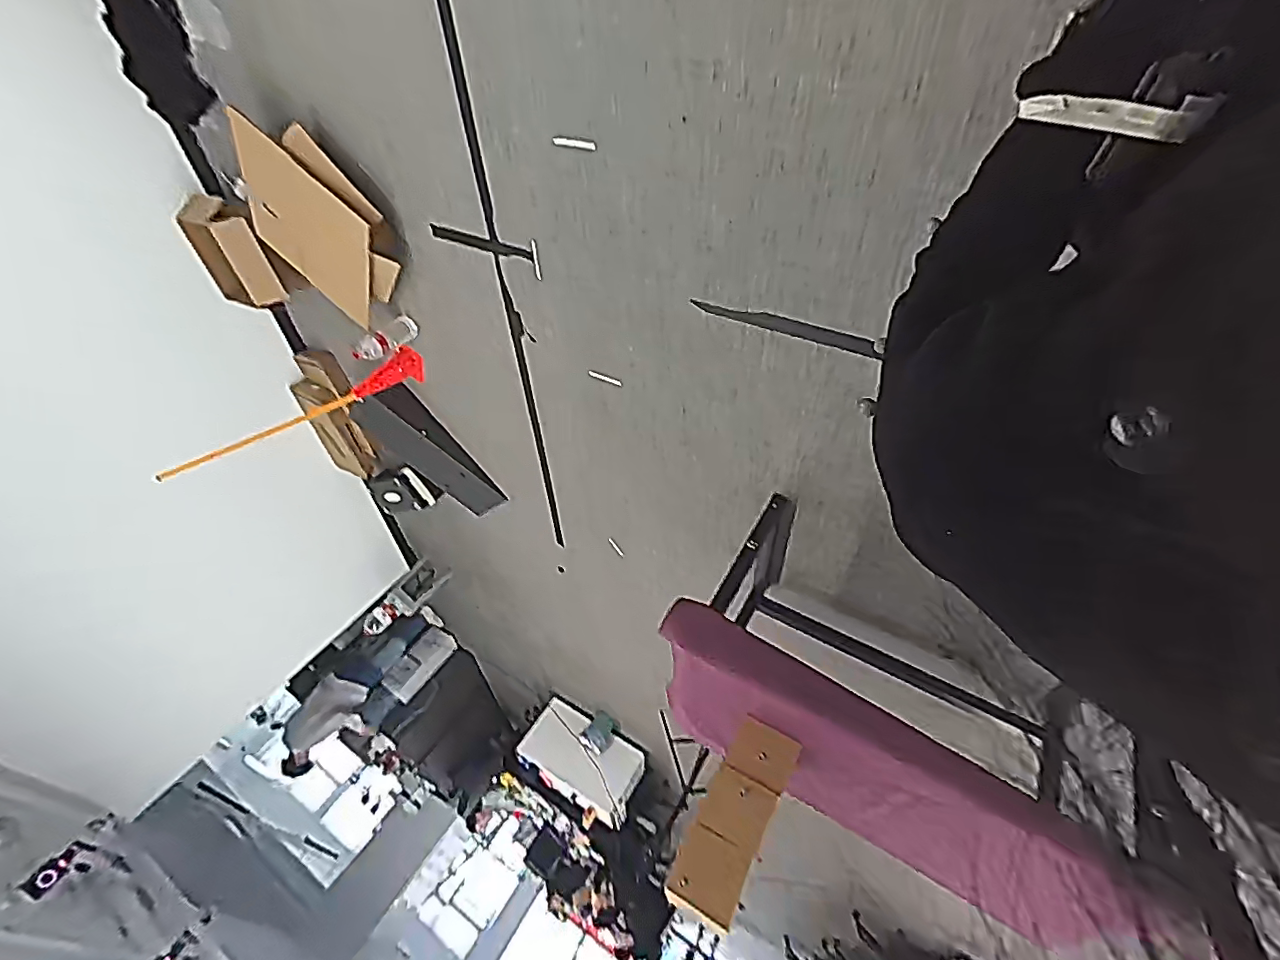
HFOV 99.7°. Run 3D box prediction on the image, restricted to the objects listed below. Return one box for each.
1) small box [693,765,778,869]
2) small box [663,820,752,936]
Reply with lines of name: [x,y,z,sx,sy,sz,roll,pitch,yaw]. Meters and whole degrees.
small box: [0.262,0.917,1.489,0.179,0.176,0.168,20,139,26]
small box: [0.178,1.024,1.398,0.179,0.176,0.168,20,139,26]
